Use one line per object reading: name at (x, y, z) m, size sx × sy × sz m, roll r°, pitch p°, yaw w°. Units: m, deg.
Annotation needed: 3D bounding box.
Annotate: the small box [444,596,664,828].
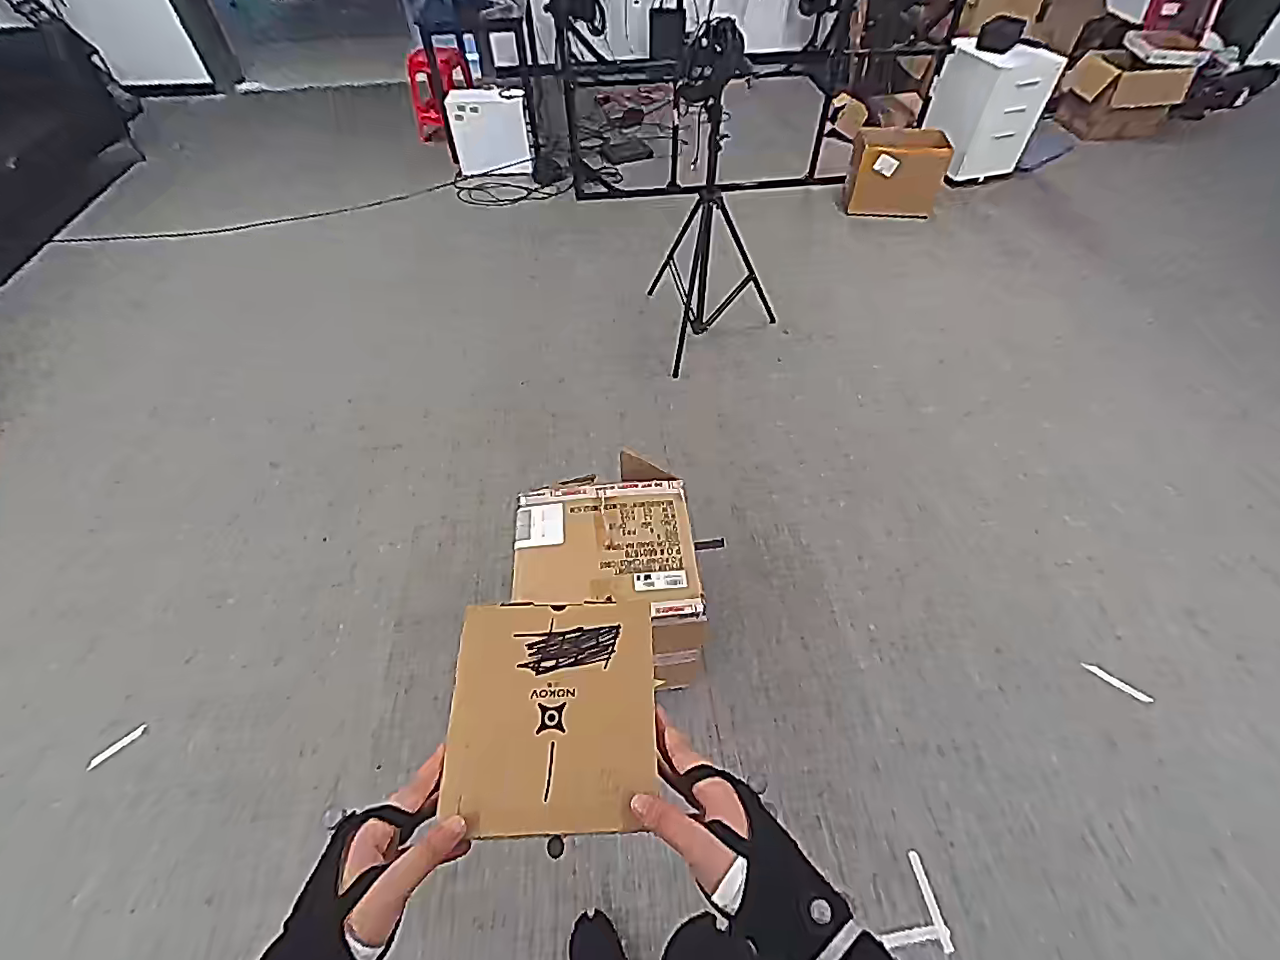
small box at (-0.068, 0.223, 0.511) m, size 0.168 × 0.176 × 0.179 m, roll -1°, pitch 58°, yaw -2°
